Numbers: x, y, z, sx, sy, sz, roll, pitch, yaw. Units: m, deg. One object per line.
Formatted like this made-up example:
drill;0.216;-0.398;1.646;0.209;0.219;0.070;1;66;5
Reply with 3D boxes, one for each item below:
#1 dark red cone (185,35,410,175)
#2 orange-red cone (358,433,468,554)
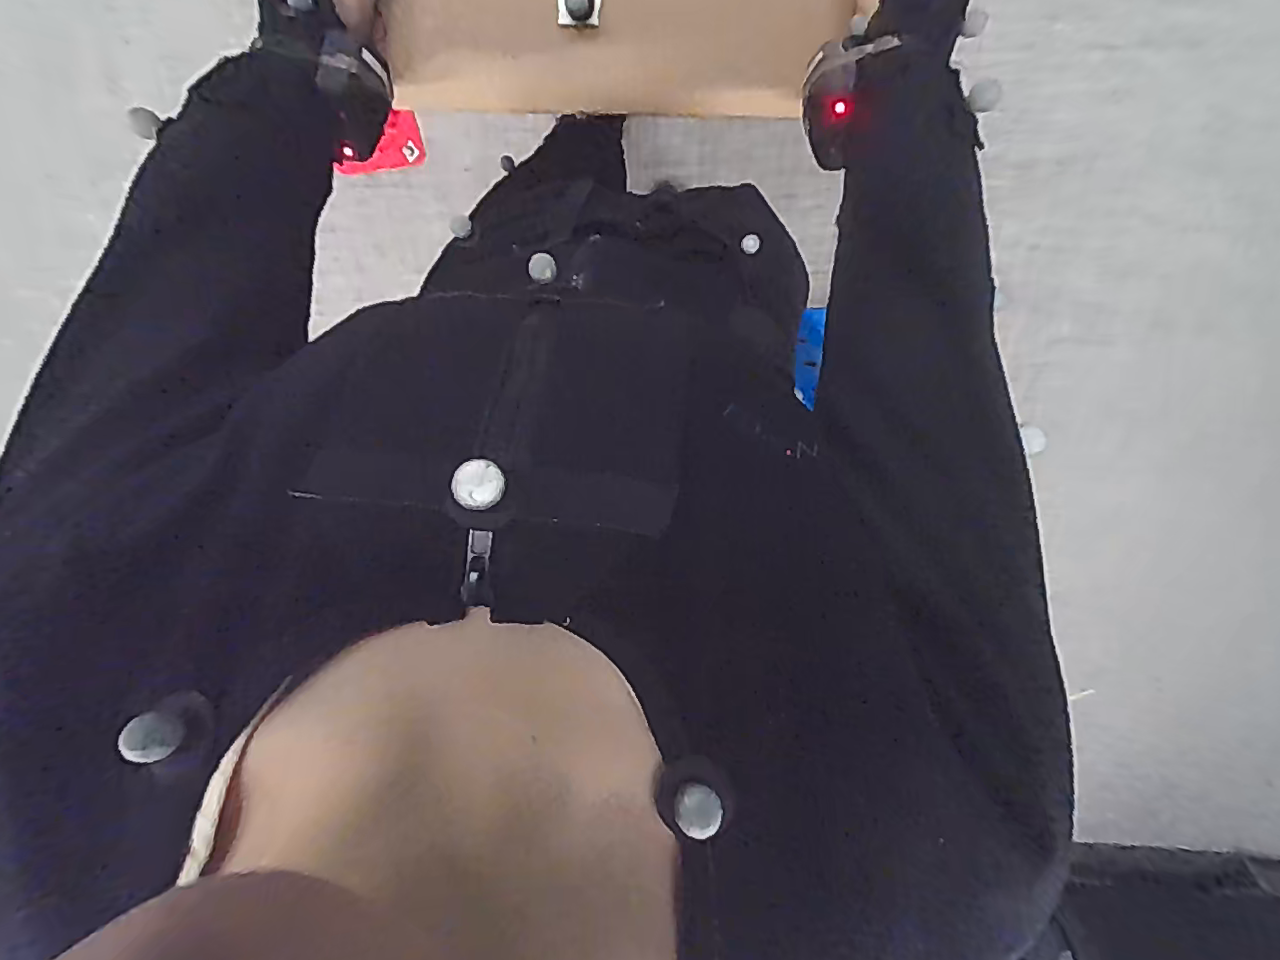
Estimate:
dark red cone;-0.570;-0.628;0.890;0.202;0.394;0.201;-5;119;9
orange-red cone;-0.602;0.063;1.361;0.199;0.360;0.198;18;121;-5
